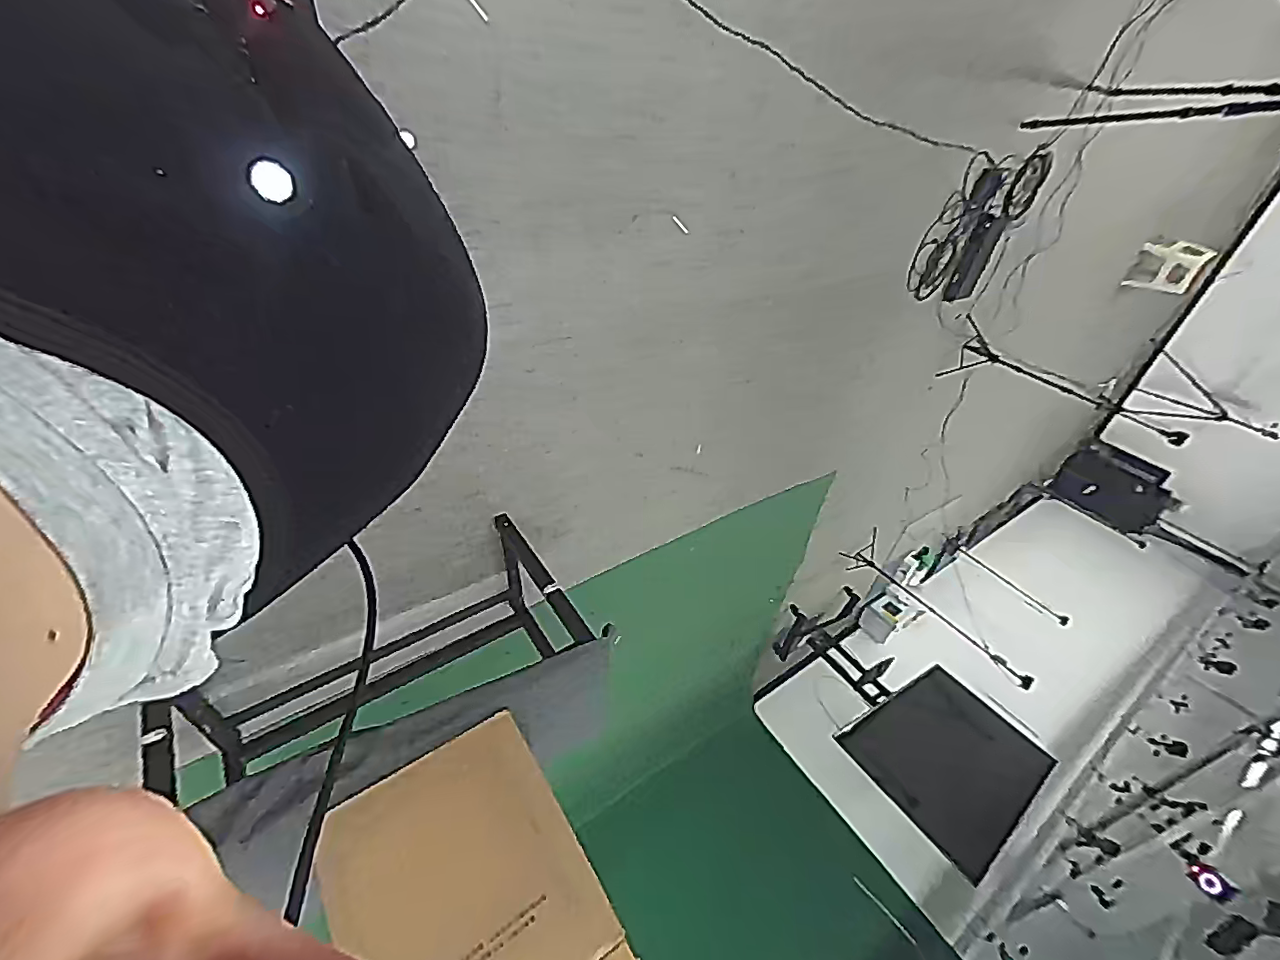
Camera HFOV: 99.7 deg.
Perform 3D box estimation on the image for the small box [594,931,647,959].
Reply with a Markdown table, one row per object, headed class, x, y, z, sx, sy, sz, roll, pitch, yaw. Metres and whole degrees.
| class | x | y | z | sx | sy | sz | roll | pitch | yaw |
| --- | --- | --- | --- | --- | --- | --- | --- | --- | --- |
| small box | -0.045 | 1.150 | 1.192 | 0.168 | 0.176 | 0.179 | -24 | 137 | -29 |
